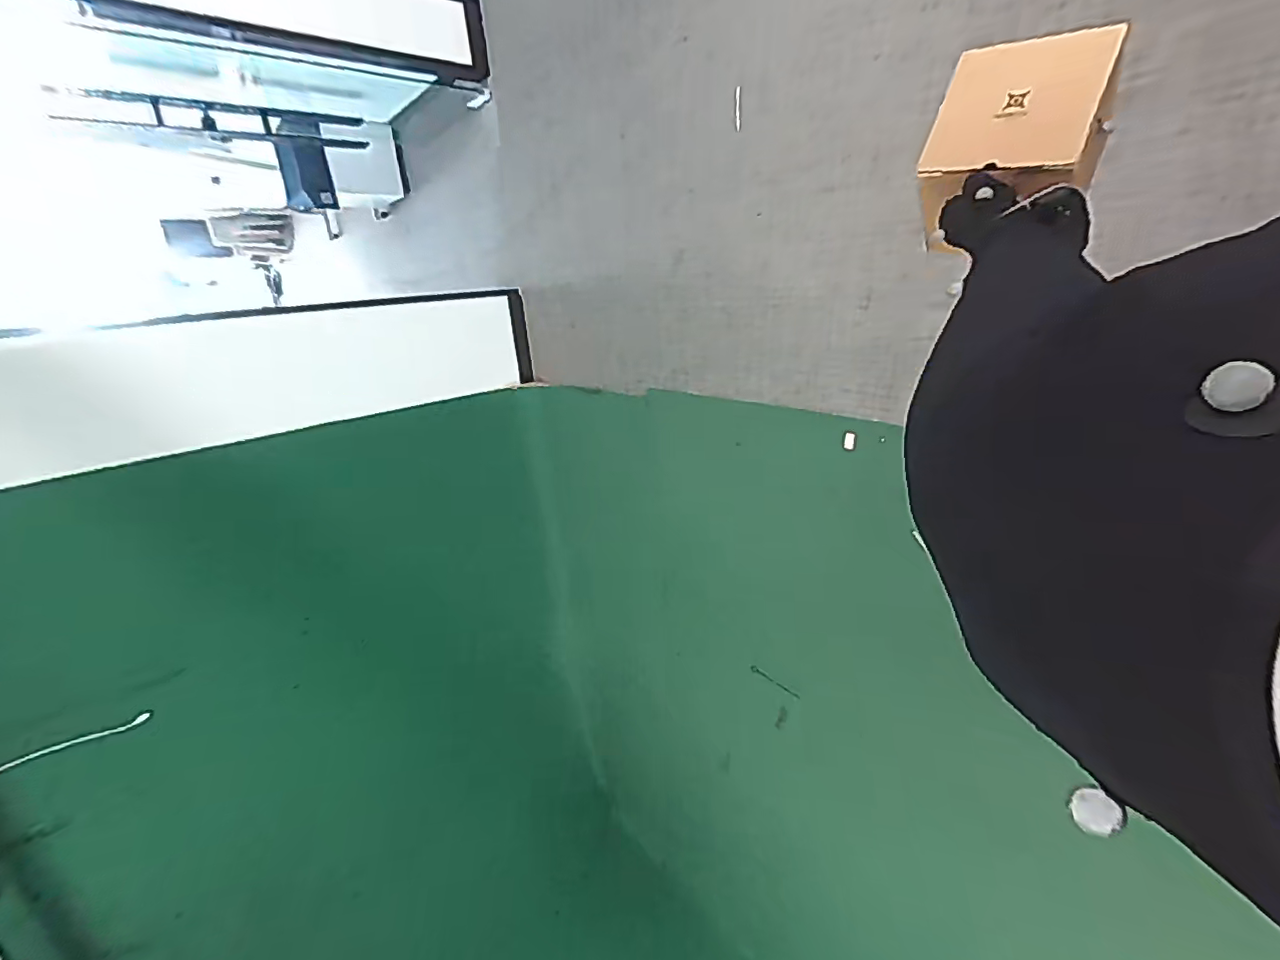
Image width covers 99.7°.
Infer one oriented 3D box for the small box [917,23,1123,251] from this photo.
[{"bbox_3d":[0.483,-0.429,0.705,0.168,0.176,0.179,20,87,36],"label":"small box"}]
